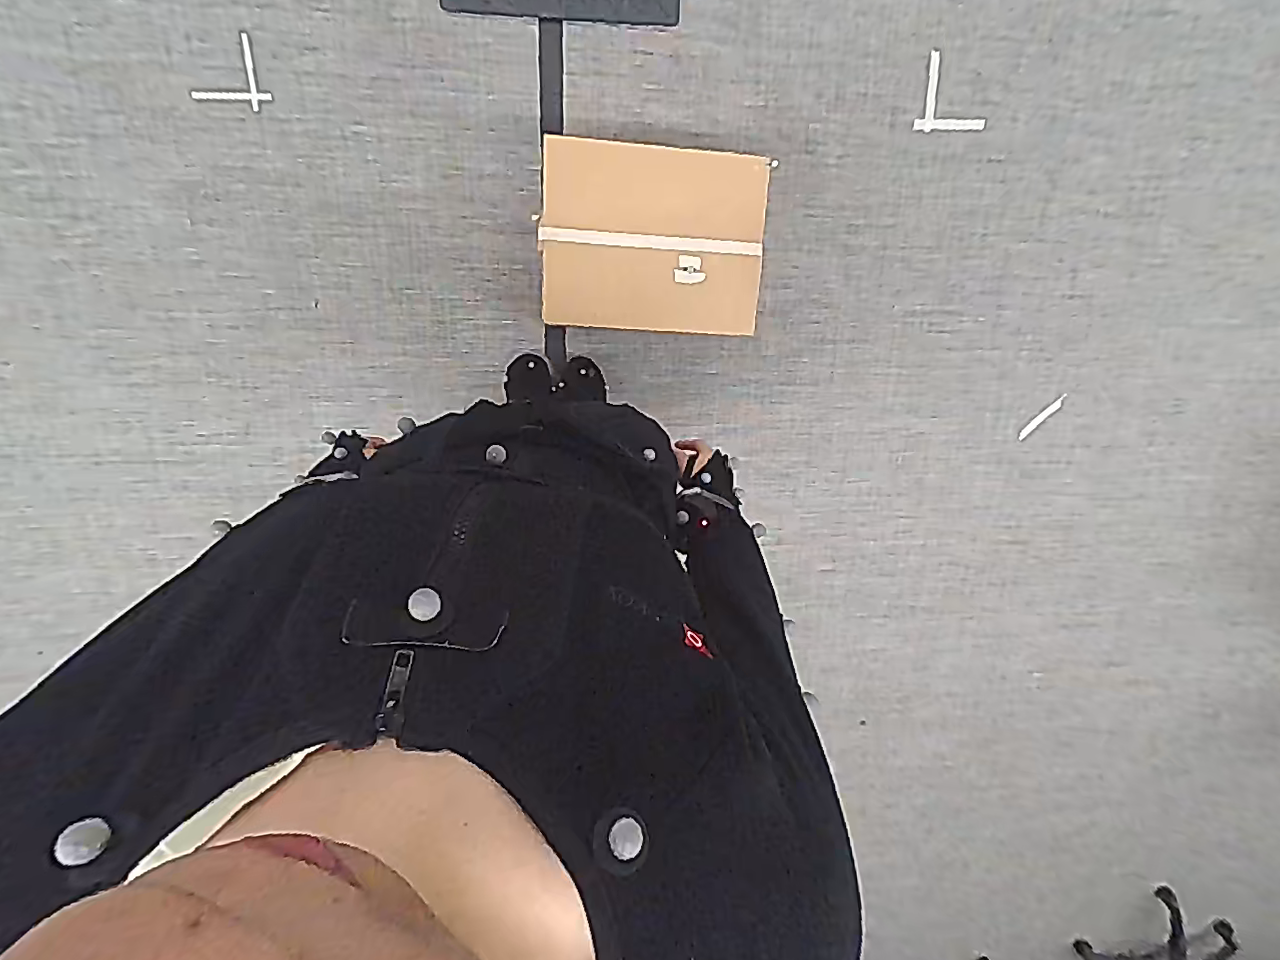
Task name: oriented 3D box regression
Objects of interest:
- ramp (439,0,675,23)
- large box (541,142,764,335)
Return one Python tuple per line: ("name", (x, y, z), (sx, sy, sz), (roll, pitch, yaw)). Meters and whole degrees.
("ramp", (-0.153, -1.411, 0.905), (0.509, 0.206, 0.991), (-3, 107, -7))
("large box", (0.003, -0.469, 1.133), (0.408, 0.320, 0.320), (1, 106, -8))
